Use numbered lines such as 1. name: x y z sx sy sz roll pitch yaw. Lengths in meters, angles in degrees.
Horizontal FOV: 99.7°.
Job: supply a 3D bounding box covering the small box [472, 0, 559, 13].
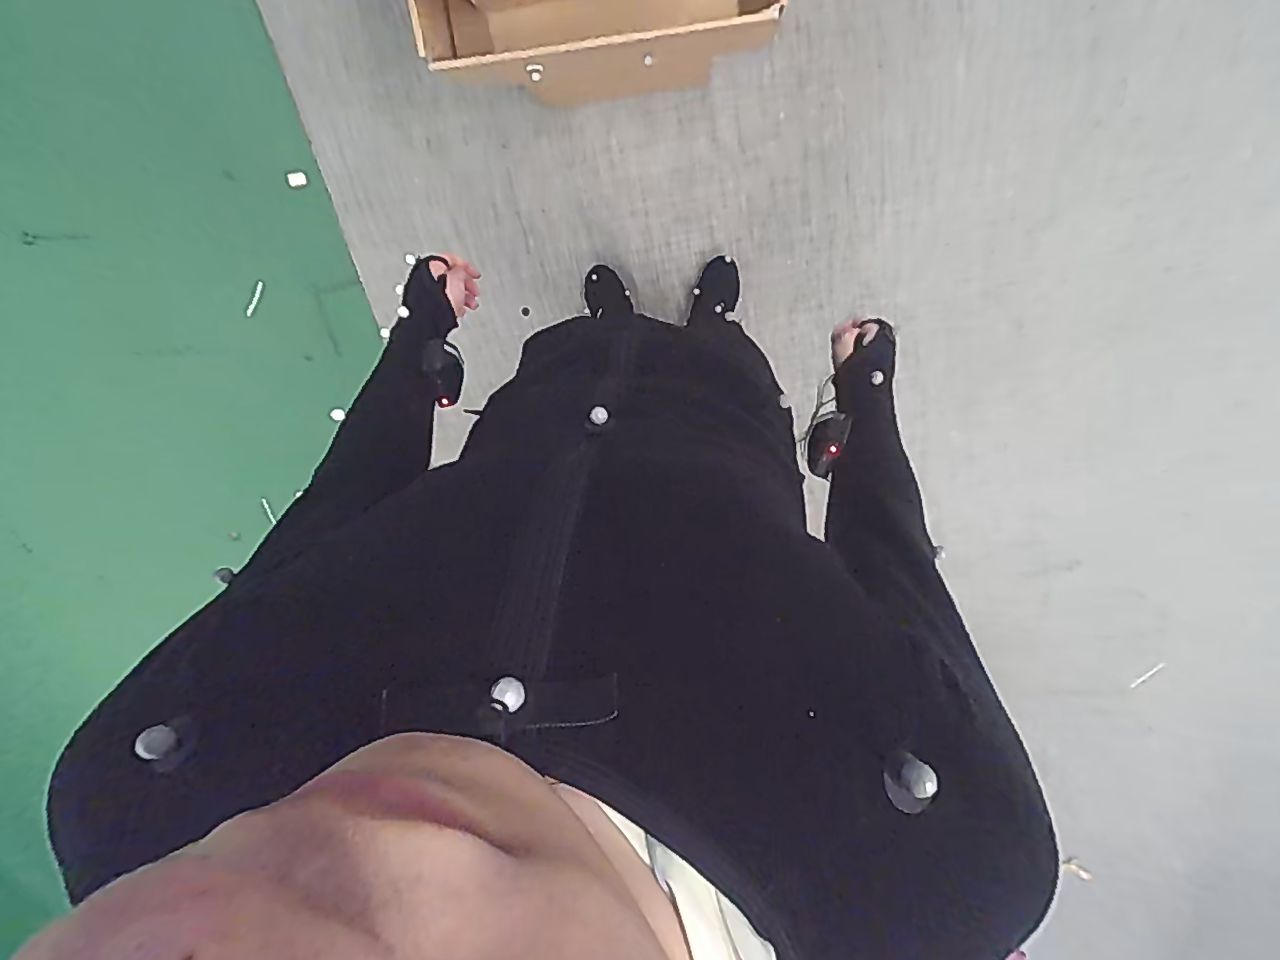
1. small box: -0.223 -0.899 0.876 0.179 0.176 0.168 -5 113 6
